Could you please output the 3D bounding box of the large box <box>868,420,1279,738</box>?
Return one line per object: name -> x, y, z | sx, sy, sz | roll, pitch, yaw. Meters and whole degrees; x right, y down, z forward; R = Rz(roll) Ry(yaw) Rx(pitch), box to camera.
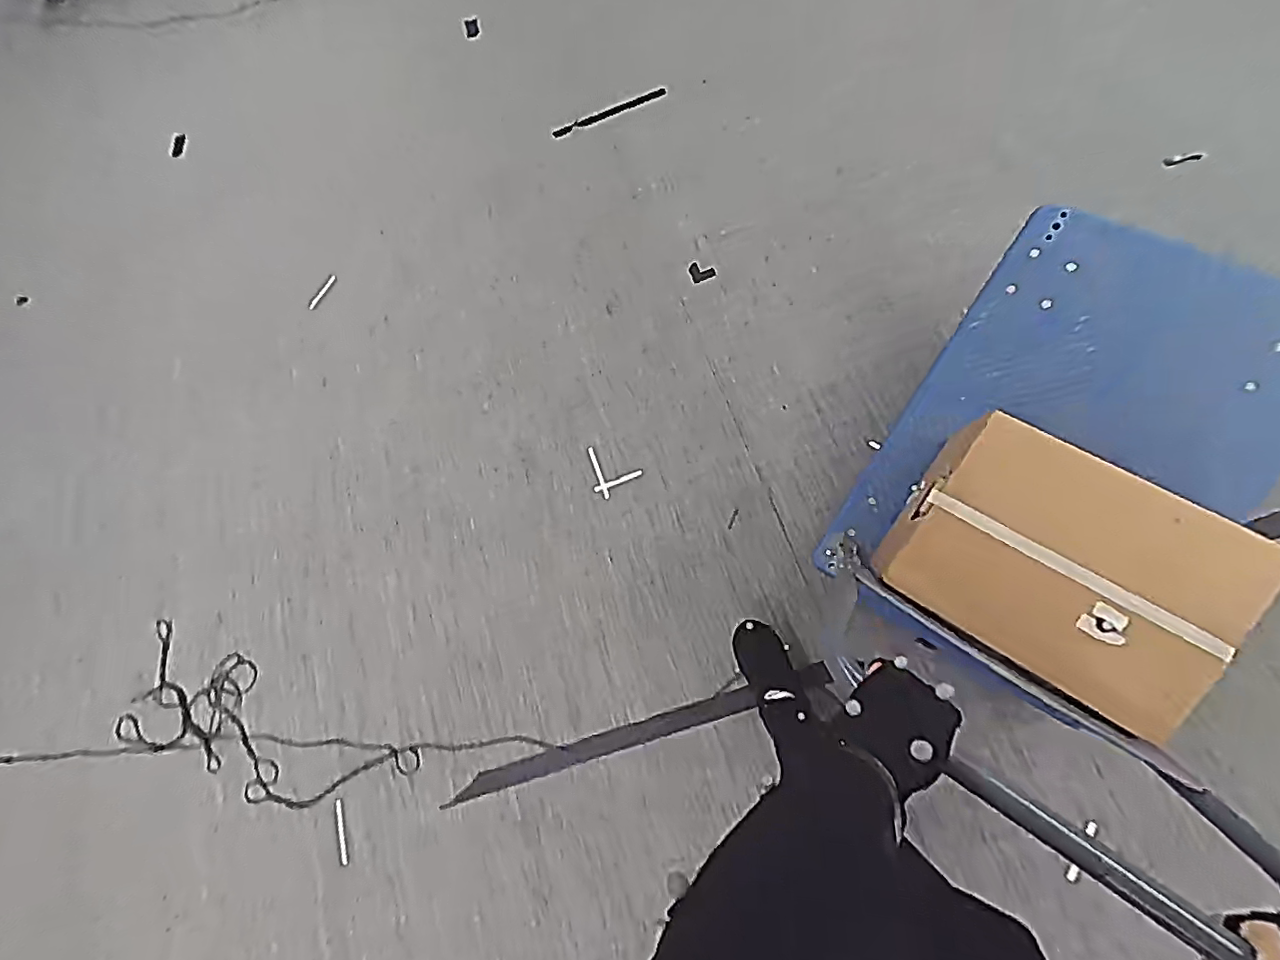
large box -> 0.668, 0.141, 0.931 | 0.408, 0.320, 0.320 | 32, 97, 17
